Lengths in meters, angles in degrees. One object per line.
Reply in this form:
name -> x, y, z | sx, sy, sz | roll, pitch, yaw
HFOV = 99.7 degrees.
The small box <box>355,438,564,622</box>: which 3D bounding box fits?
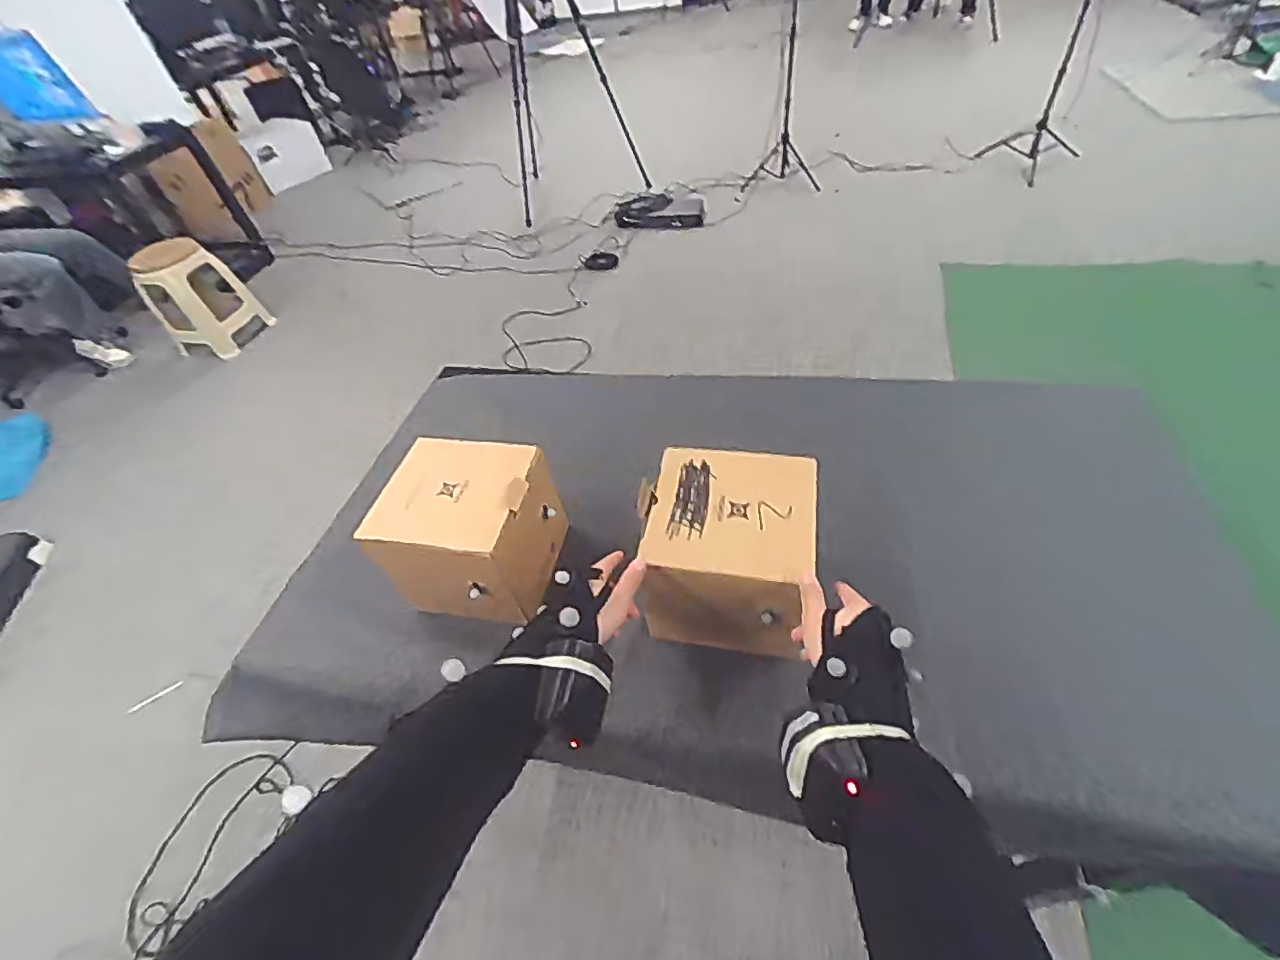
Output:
small box -> -0.212, 0.067, 0.697 | 0.179, 0.176, 0.168 | 4, 48, 13
